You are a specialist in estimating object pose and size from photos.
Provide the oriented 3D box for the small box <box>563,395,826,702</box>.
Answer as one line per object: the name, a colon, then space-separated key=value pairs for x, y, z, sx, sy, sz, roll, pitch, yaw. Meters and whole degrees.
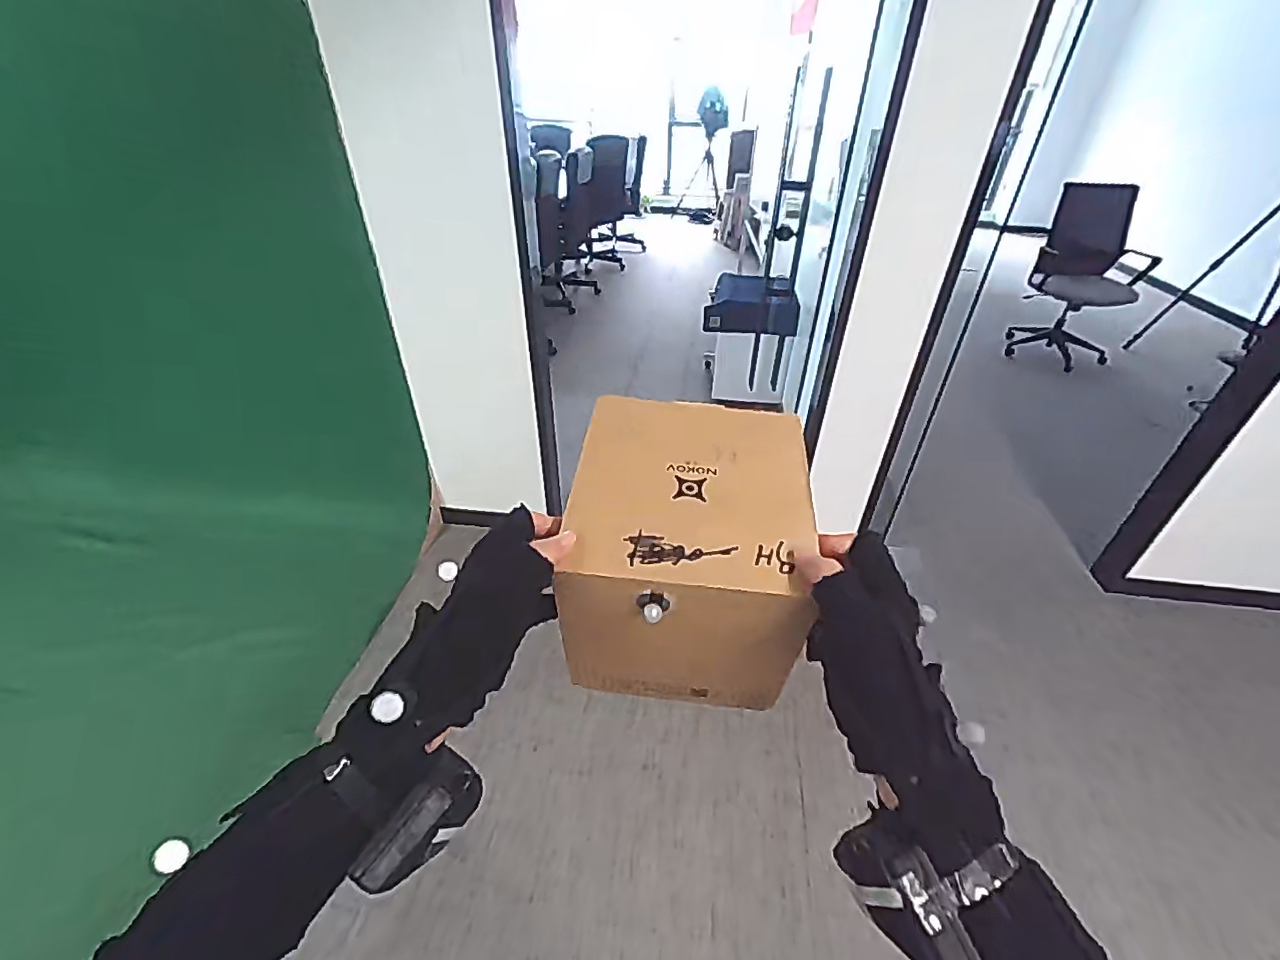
small box: x=0.041 y=0.053 z=0.444 sx=0.168 sy=0.176 sz=0.179 roll=5 pitch=45 yaw=5
